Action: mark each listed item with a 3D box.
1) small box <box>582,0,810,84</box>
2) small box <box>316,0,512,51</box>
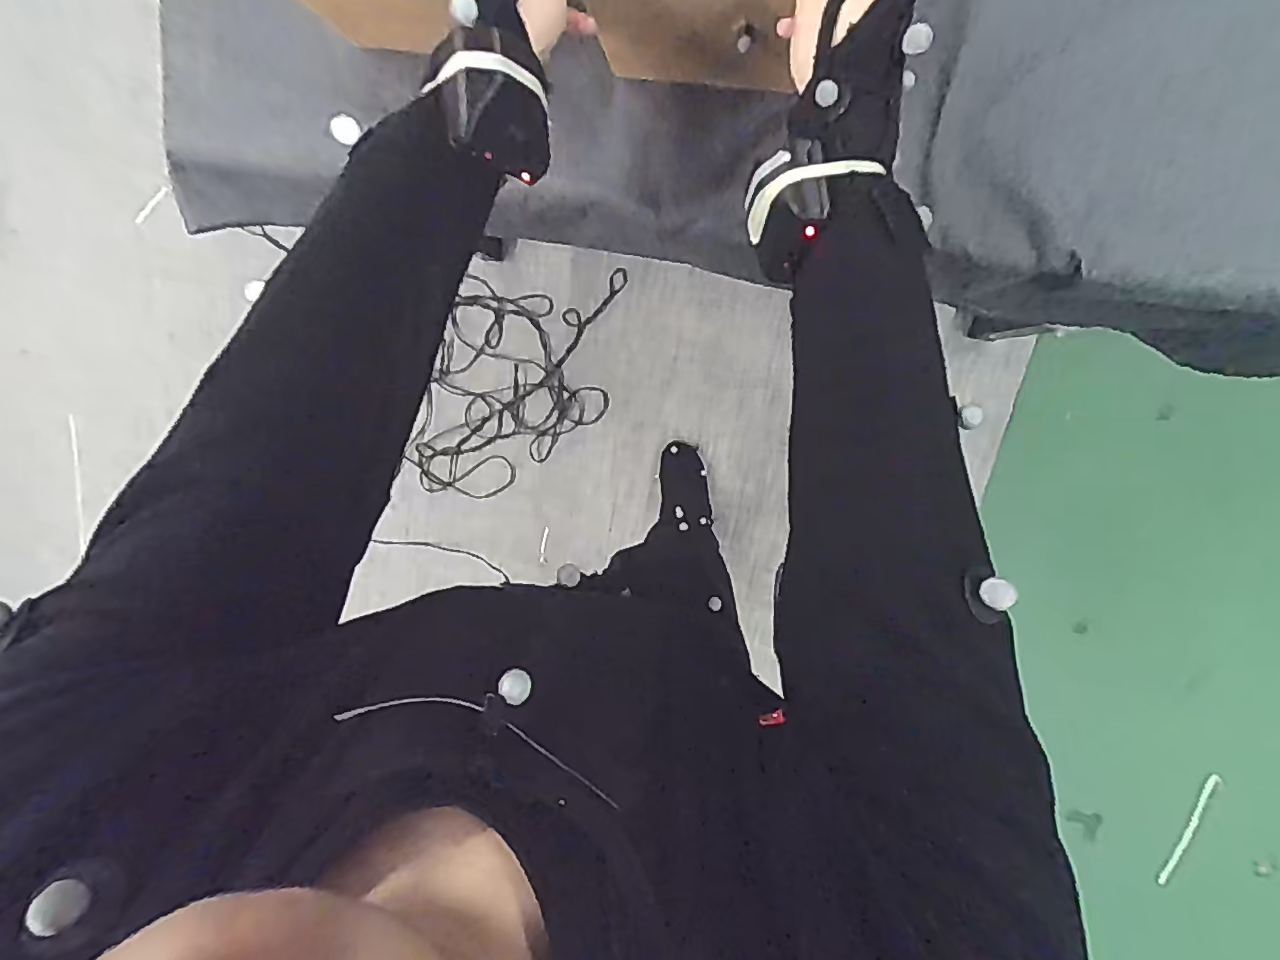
[{"bbox_3d":[0.055,-0.439,0.413,0.179,0.176,0.168,12,102,10],"label":"small box"},{"bbox_3d":[-0.217,-0.501,0.453,0.179,0.176,0.168,11,102,8],"label":"small box"}]
